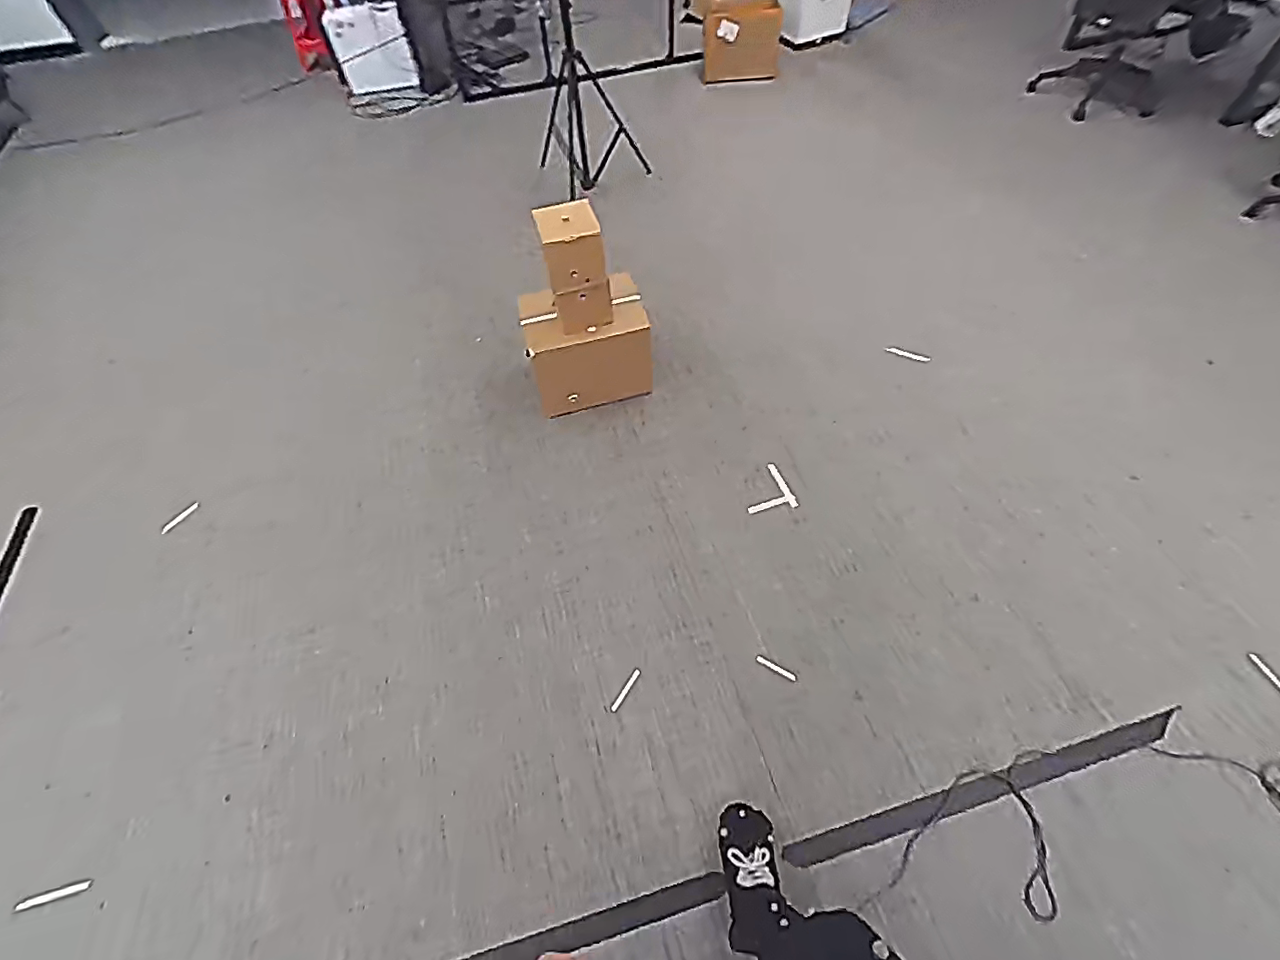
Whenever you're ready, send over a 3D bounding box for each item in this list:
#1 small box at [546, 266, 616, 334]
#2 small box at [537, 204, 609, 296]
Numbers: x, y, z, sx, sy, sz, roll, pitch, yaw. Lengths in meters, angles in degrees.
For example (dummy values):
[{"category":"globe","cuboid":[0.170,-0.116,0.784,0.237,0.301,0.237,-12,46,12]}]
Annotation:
[{"category":"small box","cuboid":[-0.185,-0.591,1.730,0.179,0.176,0.168,-16,58,-8]},{"category":"small box","cuboid":[-0.196,-0.674,1.590,0.168,0.176,0.179,-16,58,-7]}]
